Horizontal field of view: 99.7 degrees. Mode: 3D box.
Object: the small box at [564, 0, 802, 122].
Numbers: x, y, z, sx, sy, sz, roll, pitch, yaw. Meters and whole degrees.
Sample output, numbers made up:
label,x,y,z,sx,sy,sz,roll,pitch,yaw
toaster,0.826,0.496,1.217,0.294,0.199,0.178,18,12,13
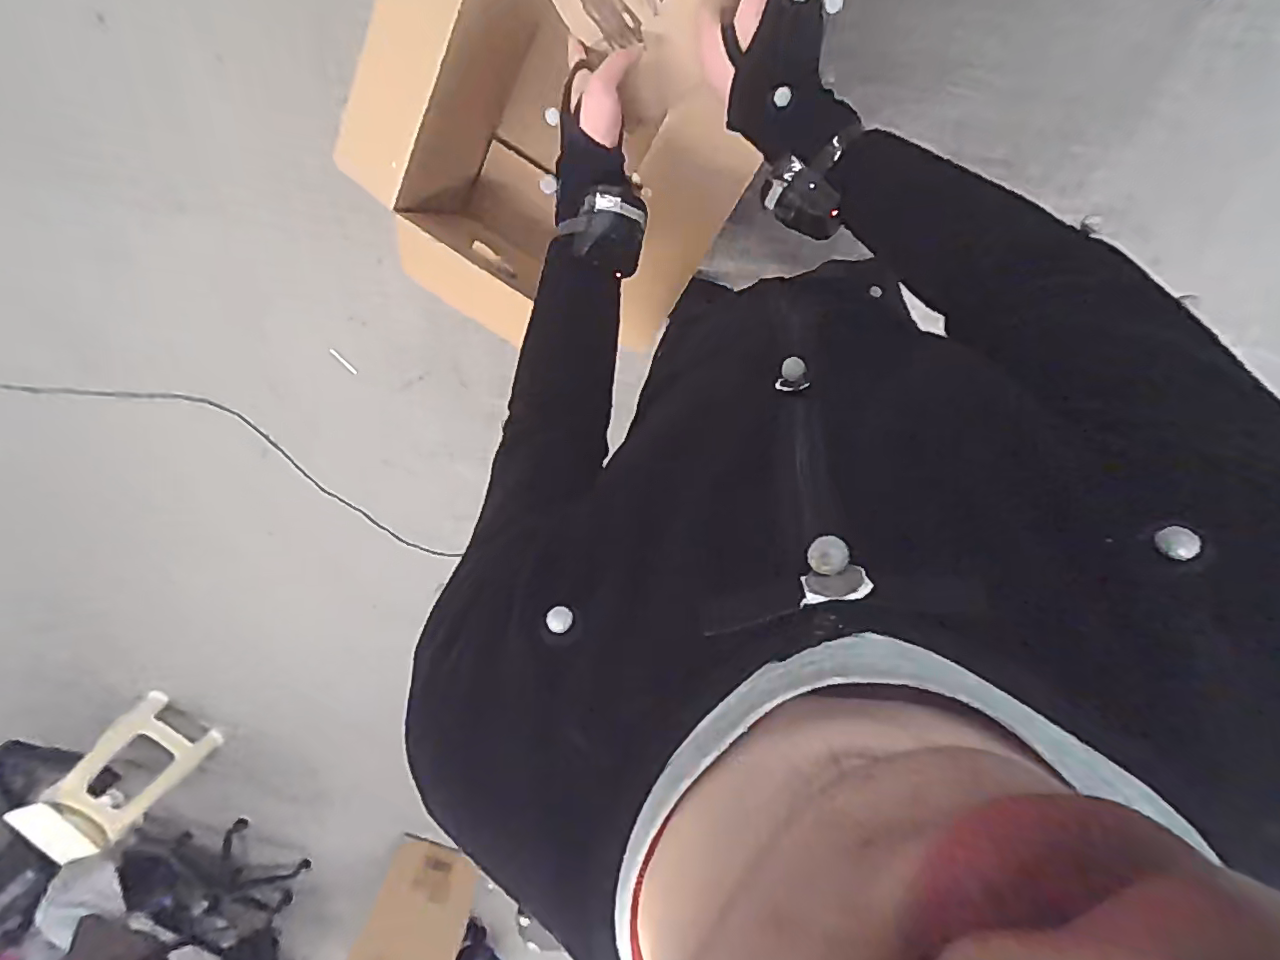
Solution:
label,x,y,z,sx,sy,sz,roll,pitch,yaw
small box,0.042,-0.471,0.474,0.179,0.176,0.168,-10,138,37
